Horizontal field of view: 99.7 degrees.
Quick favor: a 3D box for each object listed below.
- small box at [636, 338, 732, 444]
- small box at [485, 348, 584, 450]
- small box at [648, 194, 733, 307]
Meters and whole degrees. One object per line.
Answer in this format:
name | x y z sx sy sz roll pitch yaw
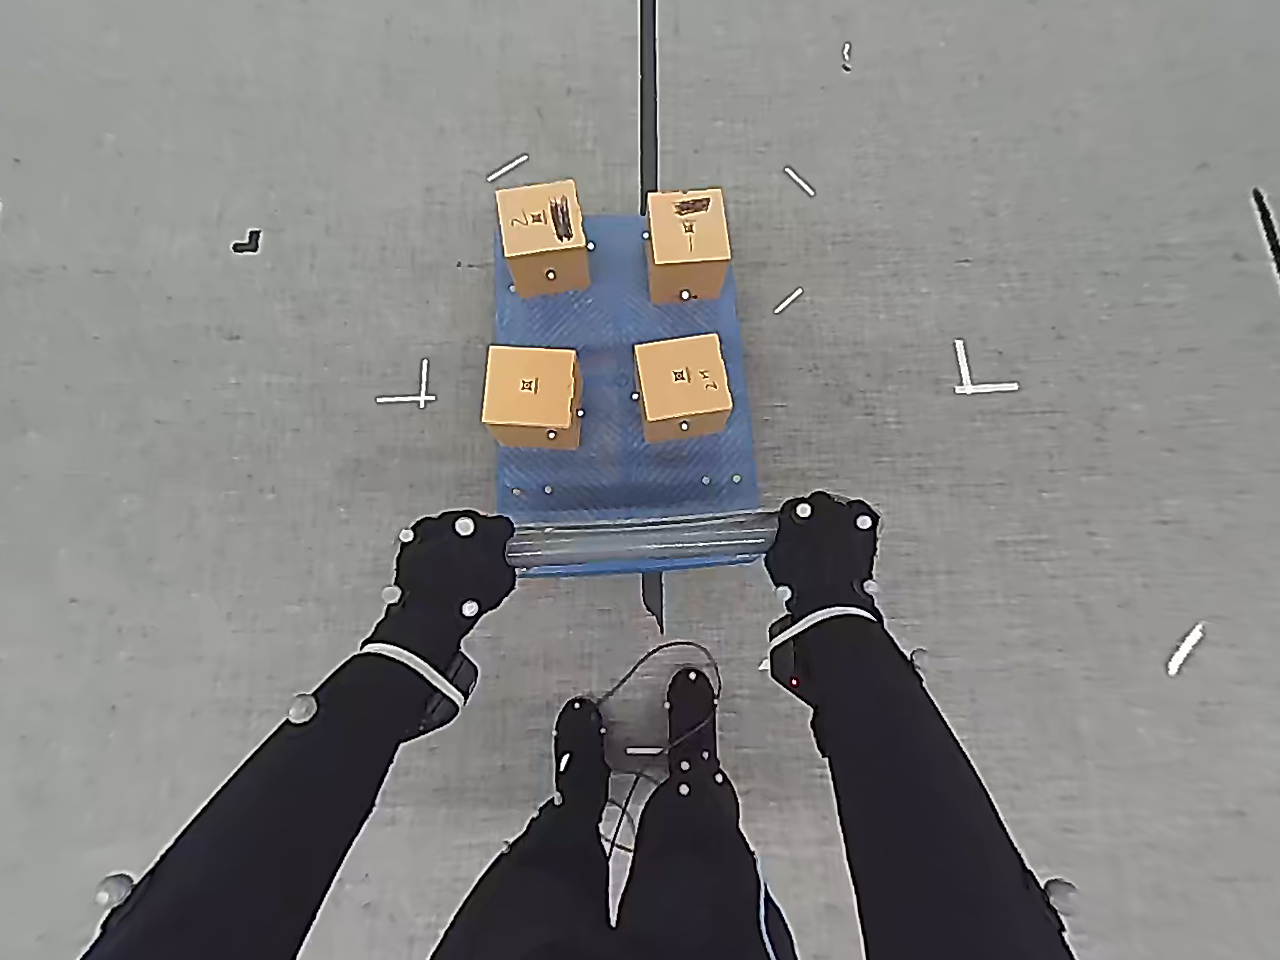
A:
small box | 0.088 -0.184 1.167 0.179 0.176 0.168 -8 78 -3
small box | -0.218 -0.166 1.158 0.179 0.176 0.168 3 77 -2
small box | 0.109 -0.521 1.242 0.168 0.176 0.179 -4 79 -2
